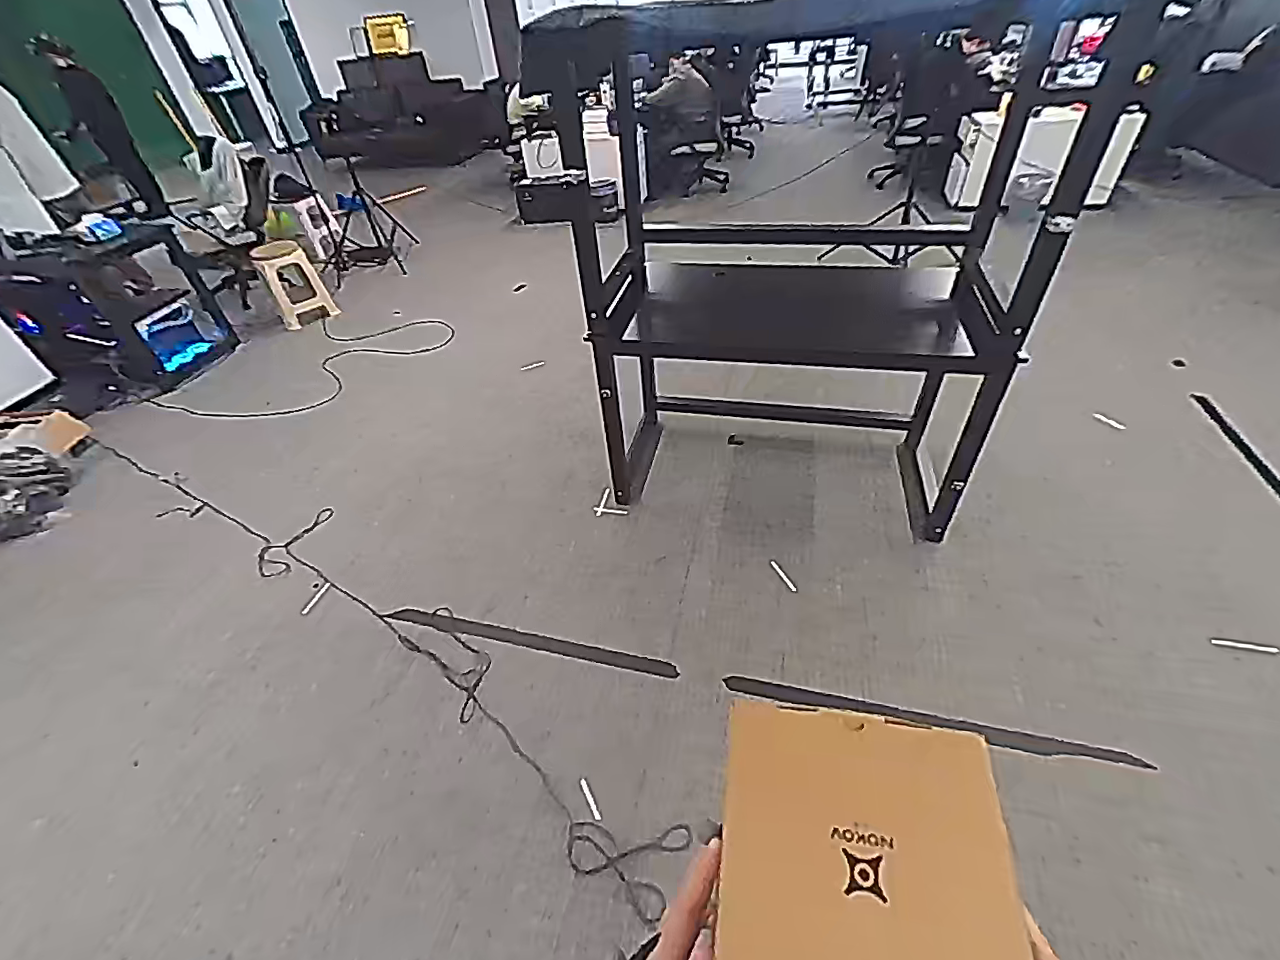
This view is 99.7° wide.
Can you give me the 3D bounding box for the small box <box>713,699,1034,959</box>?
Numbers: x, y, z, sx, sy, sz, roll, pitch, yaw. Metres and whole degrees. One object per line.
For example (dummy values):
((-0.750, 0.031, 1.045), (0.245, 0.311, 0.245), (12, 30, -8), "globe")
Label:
((0.140, 0.280, 0.374), (0.168, 0.176, 0.179), (4, 46, 11), "small box")
